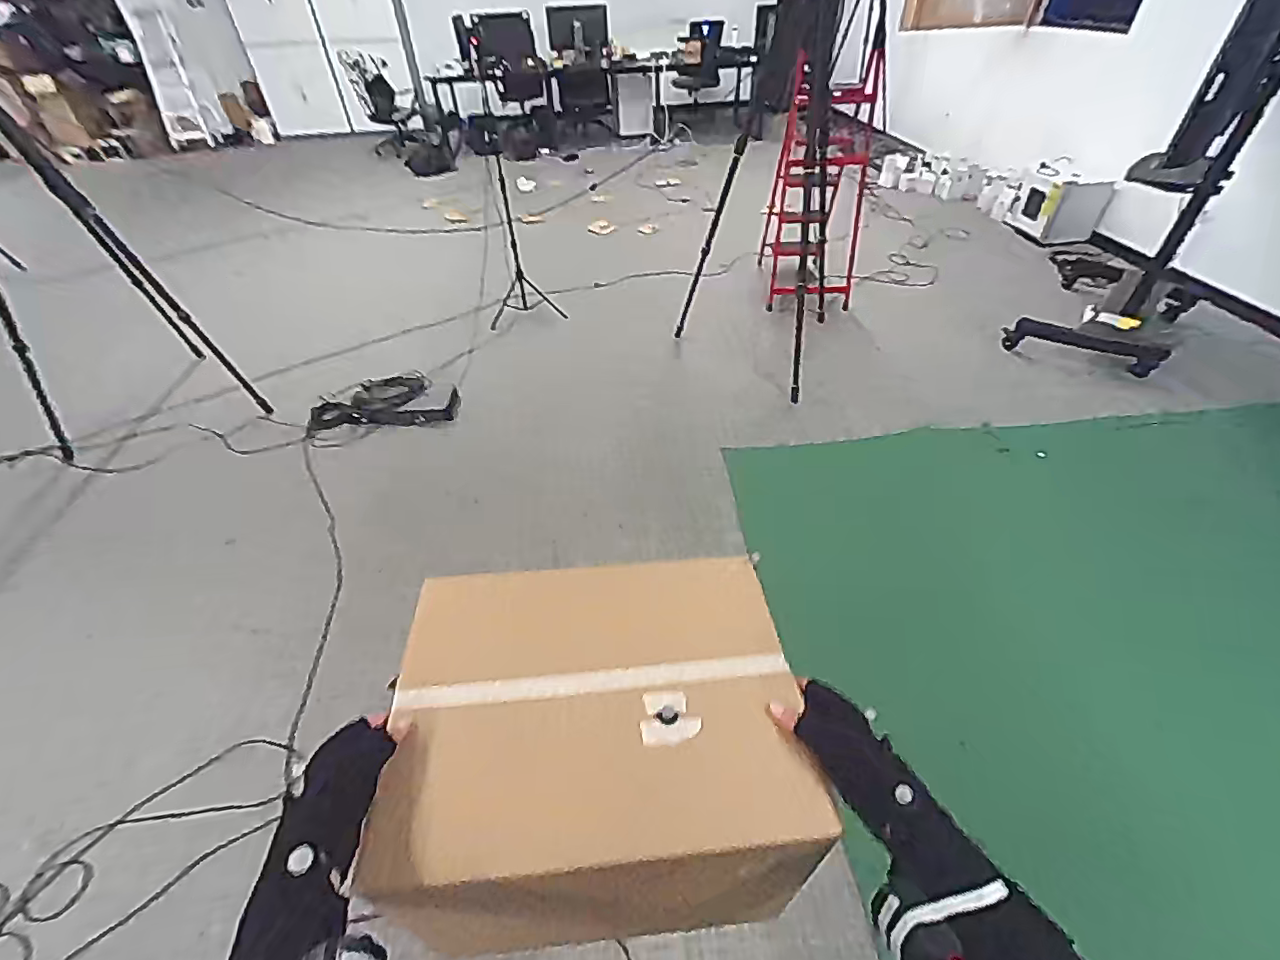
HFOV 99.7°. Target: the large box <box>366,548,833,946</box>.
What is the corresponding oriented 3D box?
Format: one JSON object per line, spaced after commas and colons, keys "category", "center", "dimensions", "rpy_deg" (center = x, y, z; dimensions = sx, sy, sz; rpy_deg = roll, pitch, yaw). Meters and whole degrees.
{"category": "large box", "center": [-0.048, 0.313, 0.658], "dimensions": [0.408, 0.320, 0.320], "rpy_deg": [-4, 42, -6]}
